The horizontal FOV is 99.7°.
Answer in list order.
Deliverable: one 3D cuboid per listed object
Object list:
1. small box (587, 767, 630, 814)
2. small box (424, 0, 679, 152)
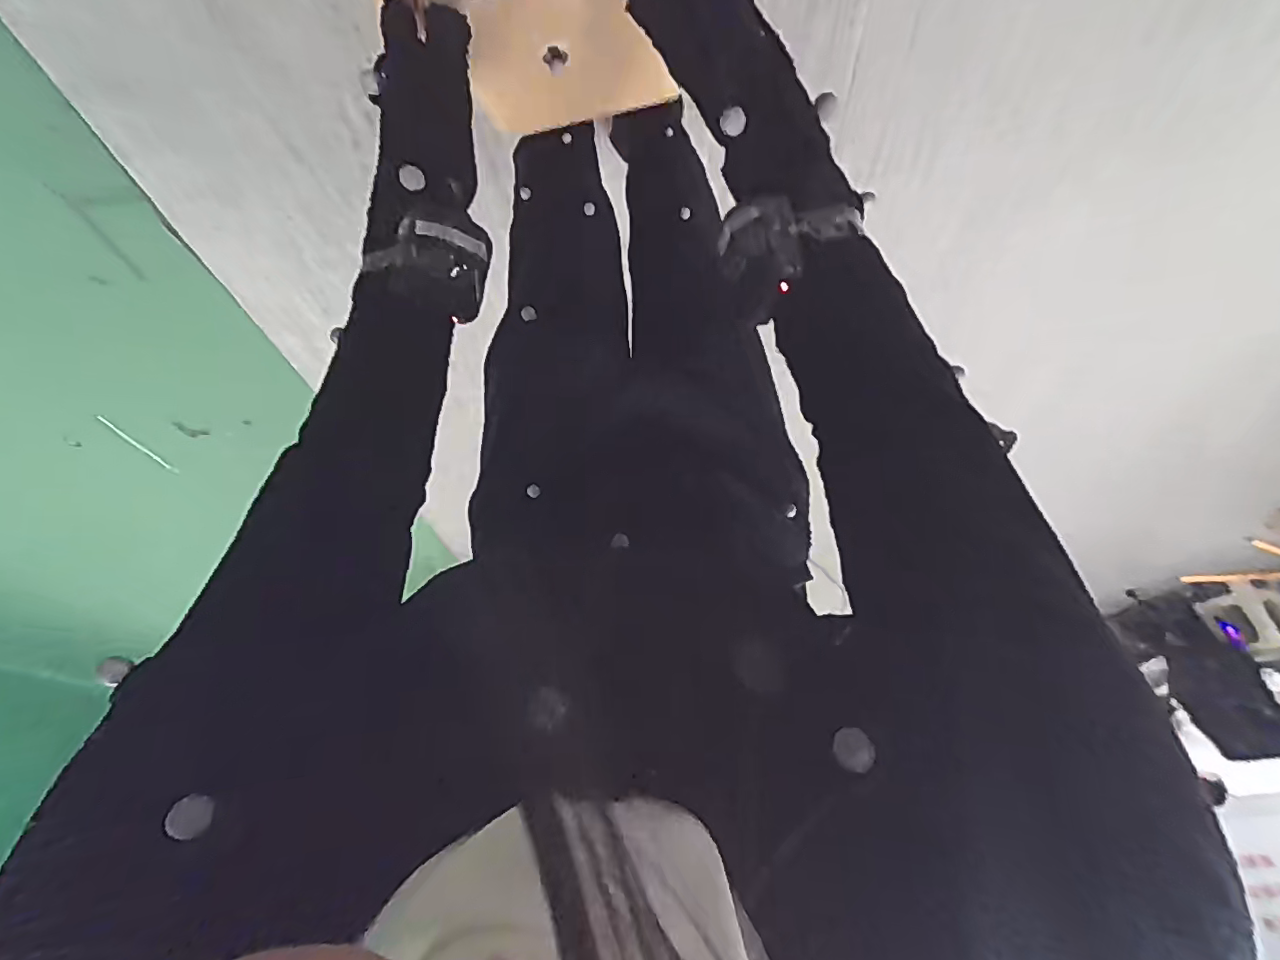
[{"bbox_3d":[-0.136,1.349,2.354,0.168,0.176,0.179,-5,147,3],"label":"small box"},{"bbox_3d":[-0.066,-0.404,0.433,0.179,0.168,0.176,-11,-178,6],"label":"small box"}]
